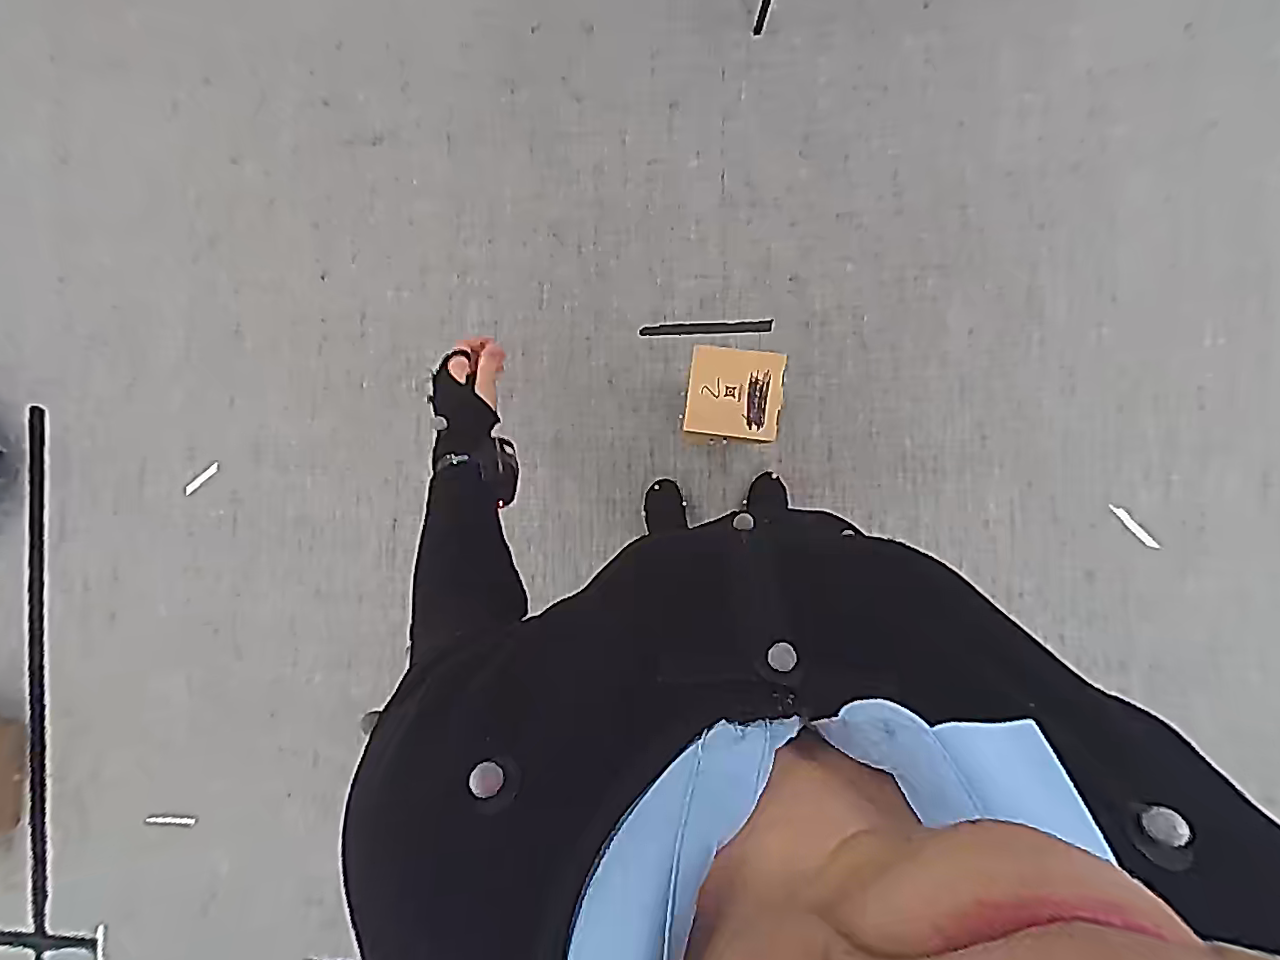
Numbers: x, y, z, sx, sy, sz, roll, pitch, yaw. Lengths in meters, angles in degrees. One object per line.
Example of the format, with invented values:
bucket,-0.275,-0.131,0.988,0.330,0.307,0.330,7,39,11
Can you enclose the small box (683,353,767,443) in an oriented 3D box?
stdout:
small box,0.190,-0.182,1.249,0.168,0.176,0.179,5,92,4
